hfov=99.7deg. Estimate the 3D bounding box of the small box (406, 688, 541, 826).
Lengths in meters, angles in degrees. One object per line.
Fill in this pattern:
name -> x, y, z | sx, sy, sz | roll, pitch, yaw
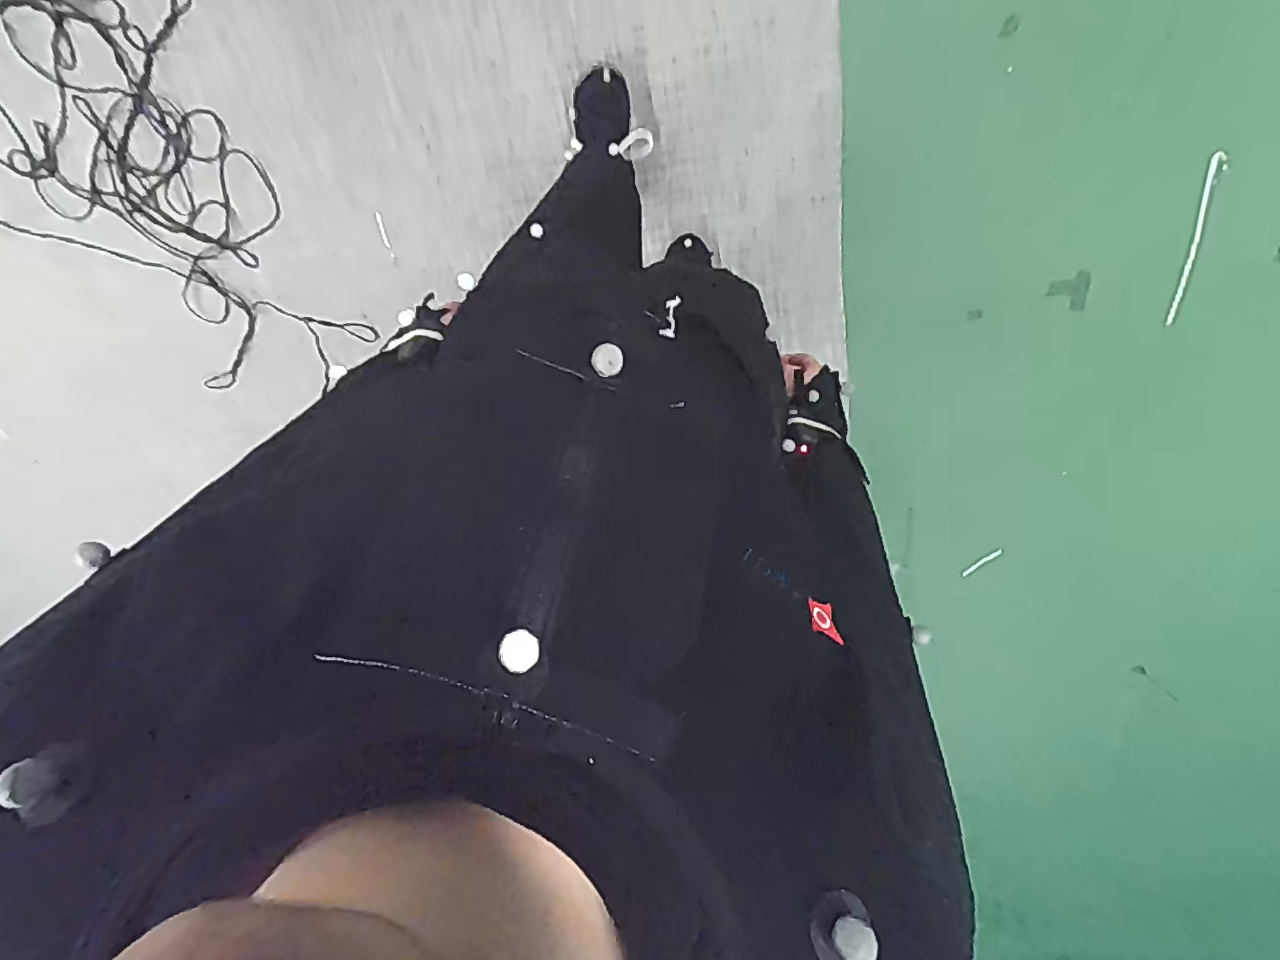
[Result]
small box -> -0.303, 0.524, 1.030 | 0.168, 0.176, 0.179 | -5, 120, 11
